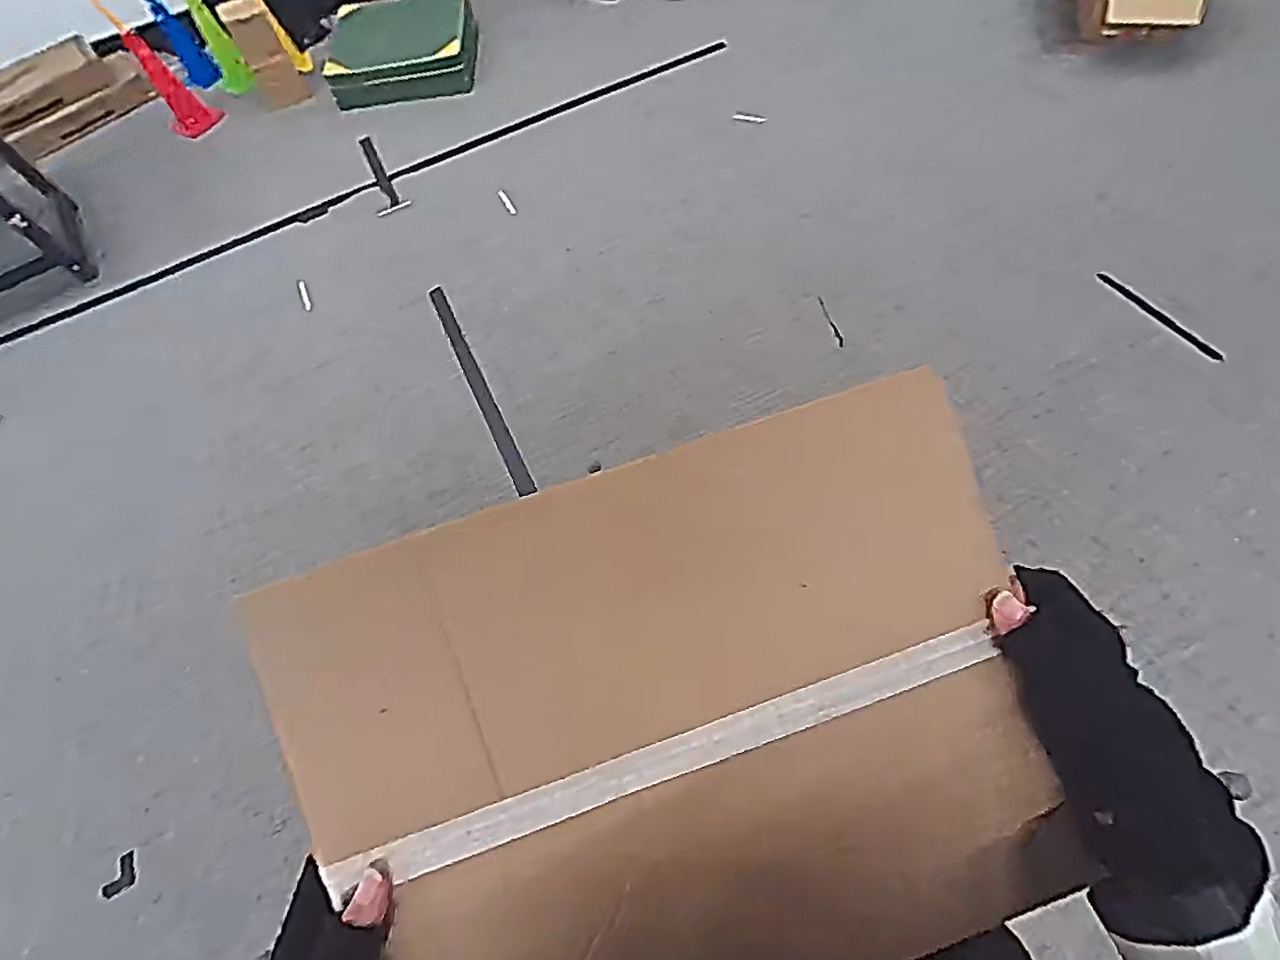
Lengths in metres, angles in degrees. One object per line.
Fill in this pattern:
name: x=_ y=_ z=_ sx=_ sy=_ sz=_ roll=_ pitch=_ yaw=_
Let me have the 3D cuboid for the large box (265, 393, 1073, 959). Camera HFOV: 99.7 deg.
large box: x=0.020 y=0.155 z=0.458 sx=0.408 sy=0.320 sz=0.320 roll=-19 pitch=90 yaw=-4
